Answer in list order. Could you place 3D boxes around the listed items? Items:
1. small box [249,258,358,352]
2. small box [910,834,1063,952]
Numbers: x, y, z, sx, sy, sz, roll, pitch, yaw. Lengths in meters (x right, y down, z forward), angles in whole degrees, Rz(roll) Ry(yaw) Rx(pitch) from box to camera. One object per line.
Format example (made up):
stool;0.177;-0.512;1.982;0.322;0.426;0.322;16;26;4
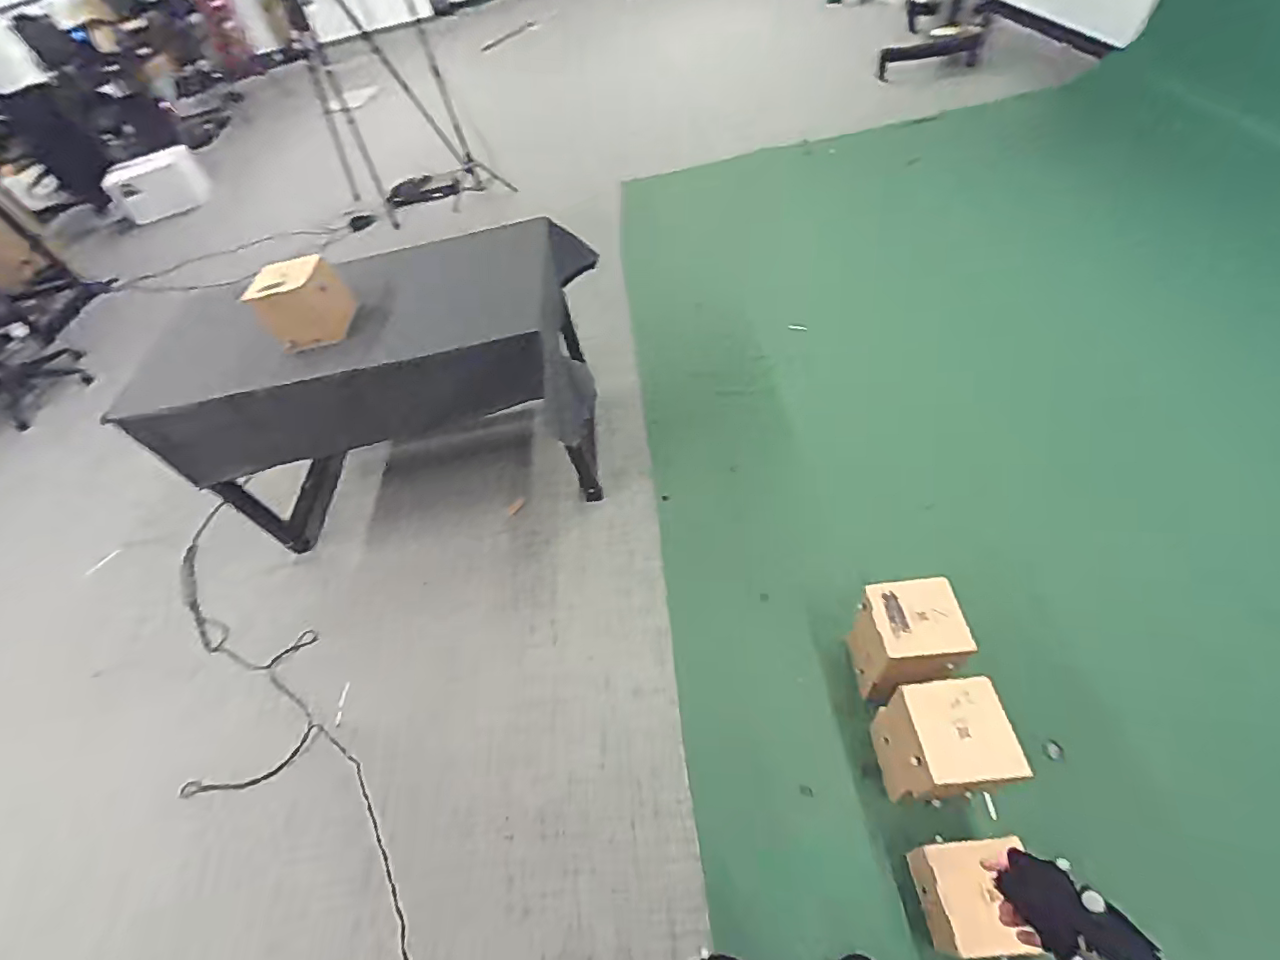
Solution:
small box;-0.900;-0.466;1.468;0.168;0.176;0.179;-11;50;5
small box;0.653;0.793;1.046;0.179;0.176;0.168;-10;51;6
